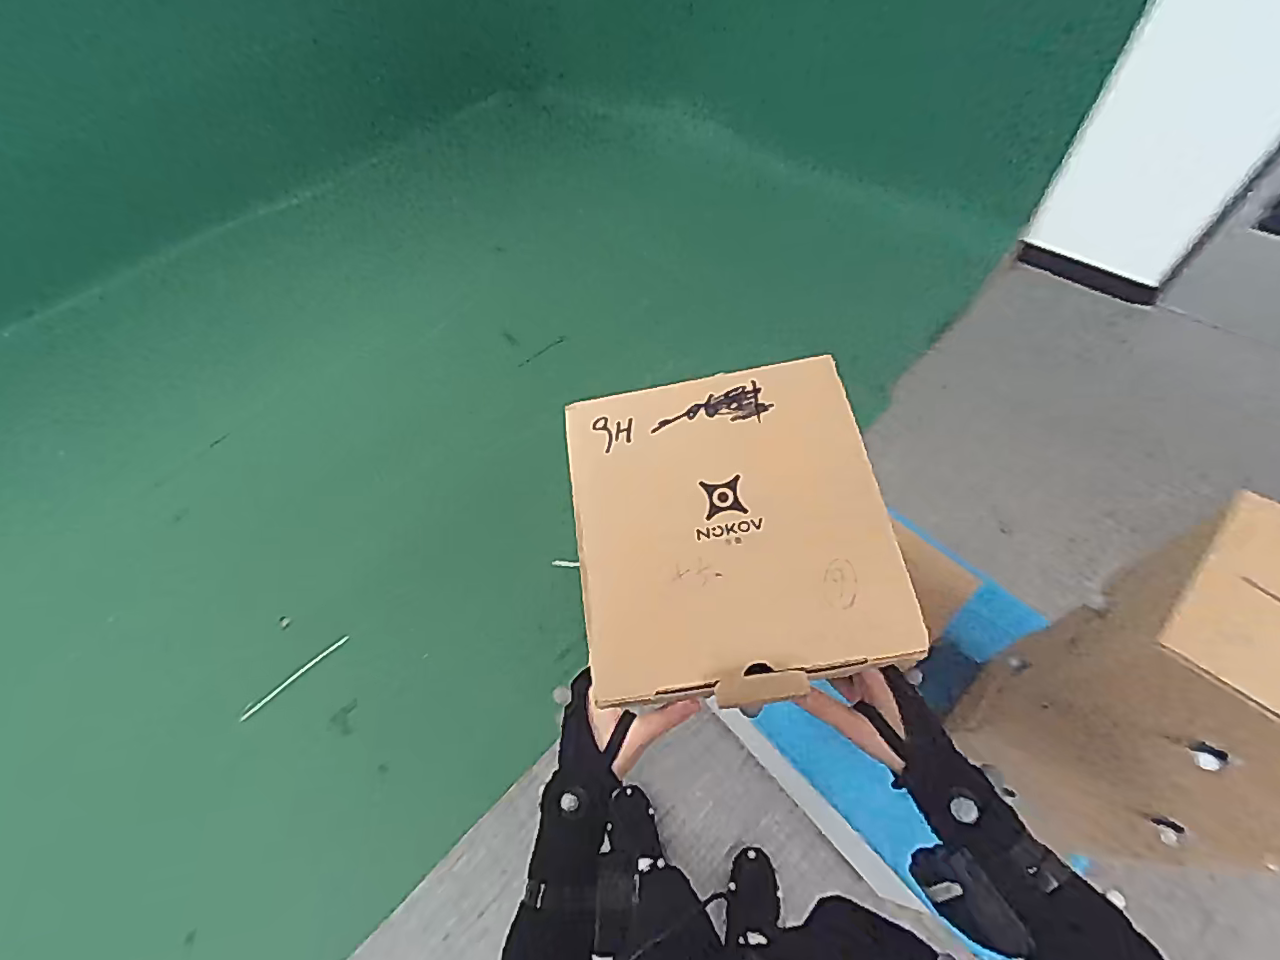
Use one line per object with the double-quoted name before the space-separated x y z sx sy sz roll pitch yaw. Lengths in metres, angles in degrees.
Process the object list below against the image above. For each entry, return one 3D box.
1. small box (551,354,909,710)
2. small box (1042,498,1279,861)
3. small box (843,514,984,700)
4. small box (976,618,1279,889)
"small box" 0.046 0.047 0.362 0.168 0.176 0.179 -10 67 3
"small box" 0.460 0.153 0.401 0.168 0.176 0.179 -39 60 -19
"small box" 0.343 0.190 0.786 0.179 0.176 0.168 -37 62 -18
"small box" 0.483 0.250 0.531 0.168 0.176 0.179 -40 61 -20
